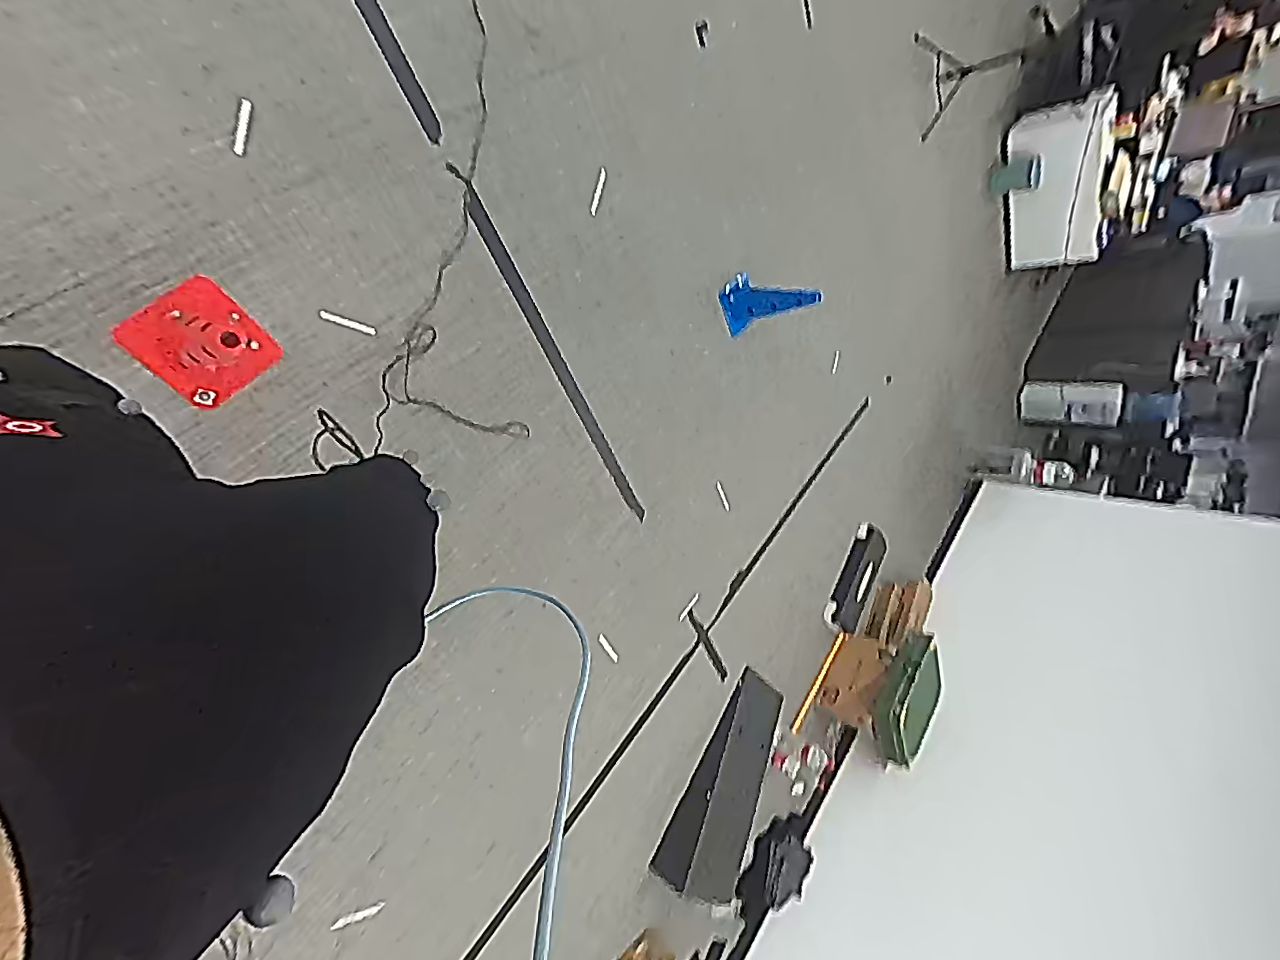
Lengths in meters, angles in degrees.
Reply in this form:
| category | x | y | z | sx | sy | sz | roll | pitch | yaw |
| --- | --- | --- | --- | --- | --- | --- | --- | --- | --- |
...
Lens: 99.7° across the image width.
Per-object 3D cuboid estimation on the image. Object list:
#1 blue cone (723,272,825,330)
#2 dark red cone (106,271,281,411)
| category | x | y | z | sx | sy | sz | roll | pitch | yaw |
| --- | --- | --- | --- | --- | --- | --- | --- | --- | --- |
| blue cone | 0.520 | -0.697 | 2.072 | 0.192 | 0.380 | 0.193 | -46 | 128 | -29 |
| dark red cone | -0.723 | -0.238 | 0.914 | 0.201 | 0.394 | 0.202 | -54 | 131 | -23 |
